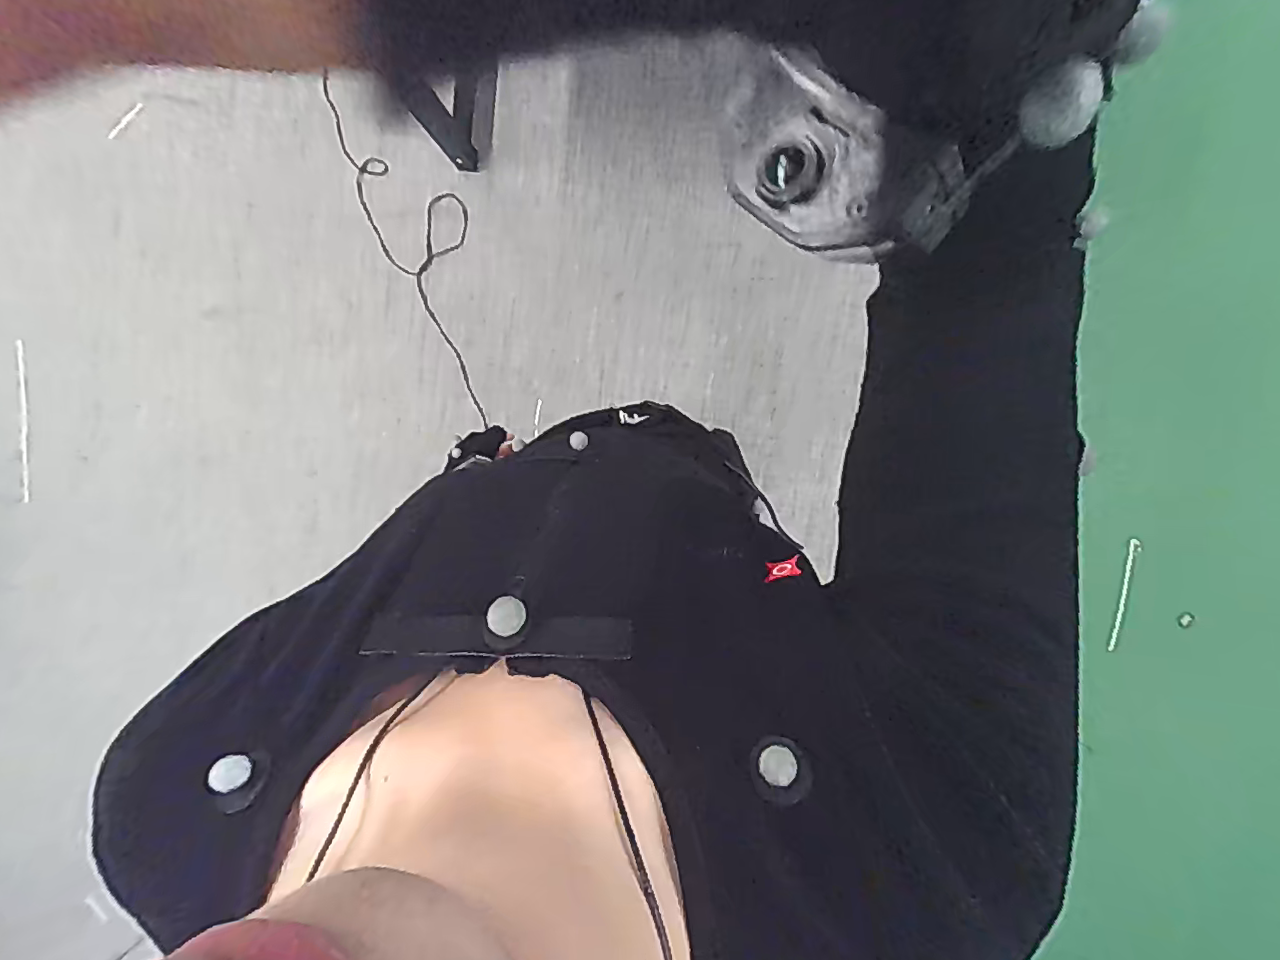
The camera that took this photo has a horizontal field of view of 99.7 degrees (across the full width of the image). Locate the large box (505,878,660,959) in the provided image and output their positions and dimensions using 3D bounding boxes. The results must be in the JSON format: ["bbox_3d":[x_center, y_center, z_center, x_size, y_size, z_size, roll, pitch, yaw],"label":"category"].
[{"bbox_3d":[-0.162,1.383,1.501,0.408,0.320,0.320,7,96,0],"label":"large box"}]
